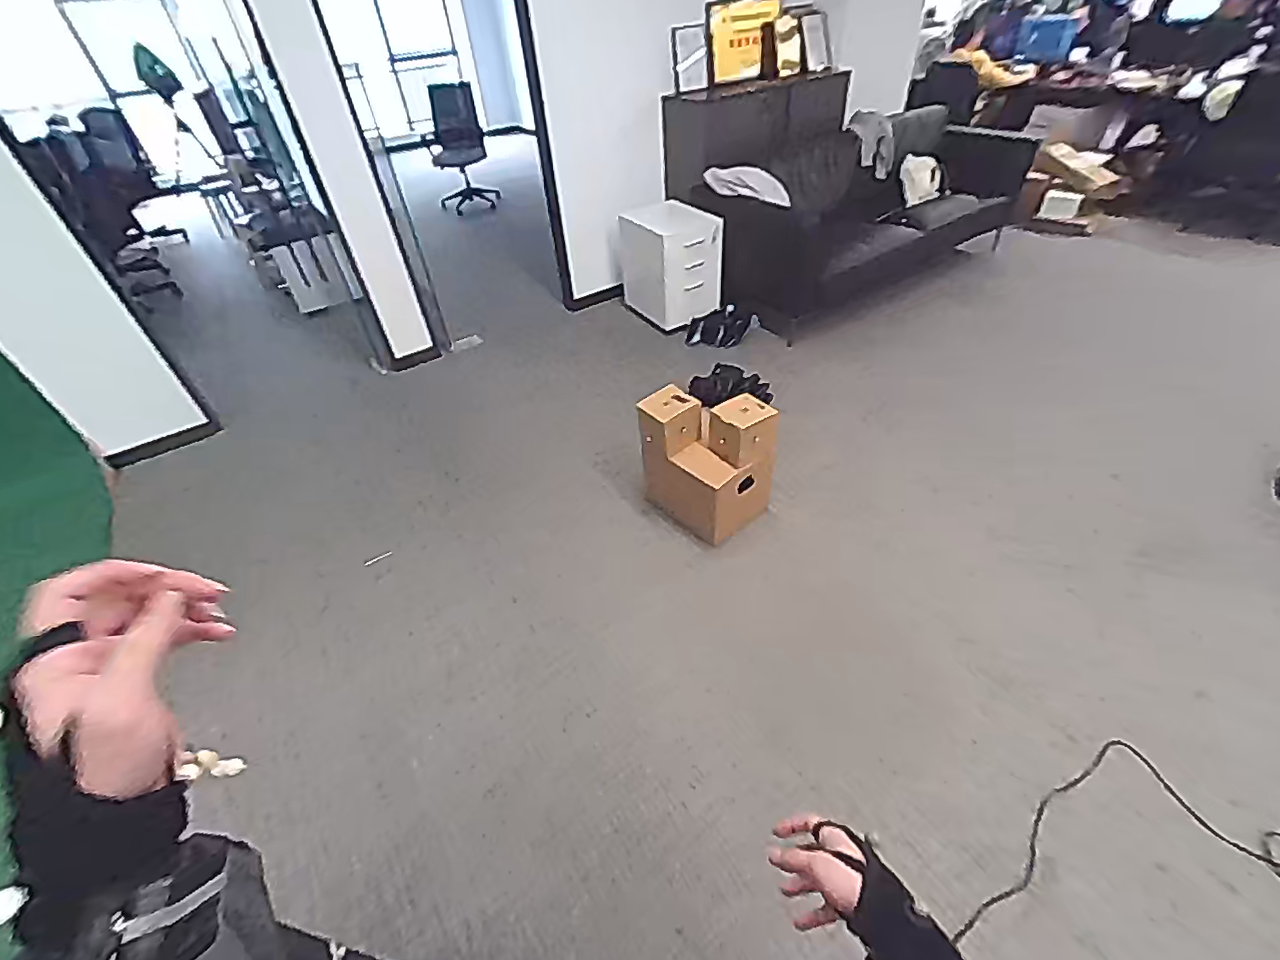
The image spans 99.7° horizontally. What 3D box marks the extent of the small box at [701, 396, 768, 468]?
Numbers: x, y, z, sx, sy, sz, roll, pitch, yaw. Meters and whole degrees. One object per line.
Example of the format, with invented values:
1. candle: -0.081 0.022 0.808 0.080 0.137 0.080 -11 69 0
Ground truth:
1. small box: 0.334 -0.169 1.933 0.179 0.176 0.168 -26 46 -25

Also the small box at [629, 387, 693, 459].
1. small box: 0.079 -0.211 2.001 0.179 0.176 0.168 -31 48 -24
